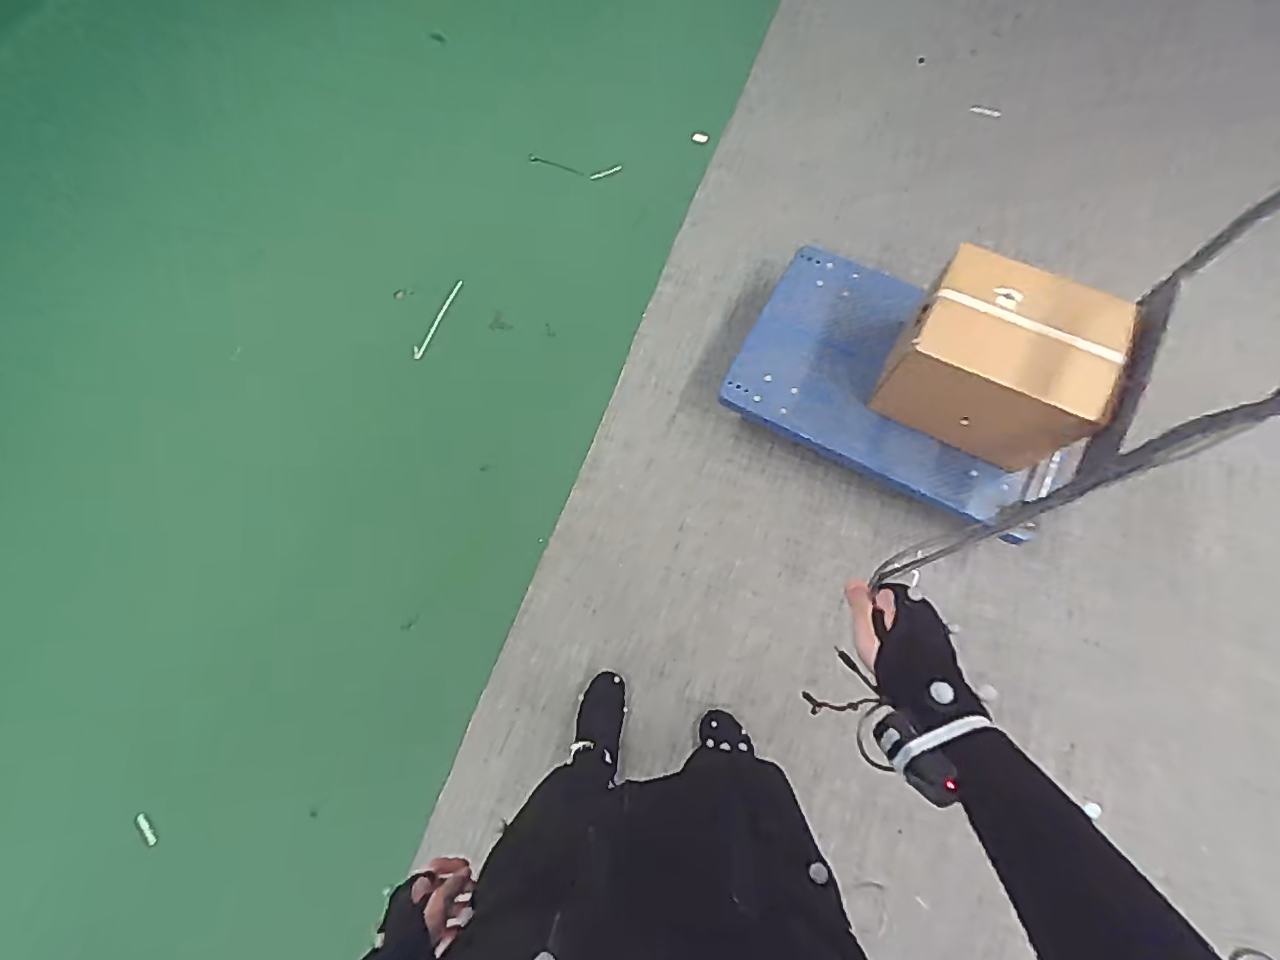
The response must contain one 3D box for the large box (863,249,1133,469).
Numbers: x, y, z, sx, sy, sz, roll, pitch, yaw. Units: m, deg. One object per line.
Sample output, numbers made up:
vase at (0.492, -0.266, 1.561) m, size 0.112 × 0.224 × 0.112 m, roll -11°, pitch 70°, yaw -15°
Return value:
large box at (0.829, -0.276, 1.305) m, size 0.408 × 0.320 × 0.320 m, roll 26°, pitch 75°, yaw 12°
